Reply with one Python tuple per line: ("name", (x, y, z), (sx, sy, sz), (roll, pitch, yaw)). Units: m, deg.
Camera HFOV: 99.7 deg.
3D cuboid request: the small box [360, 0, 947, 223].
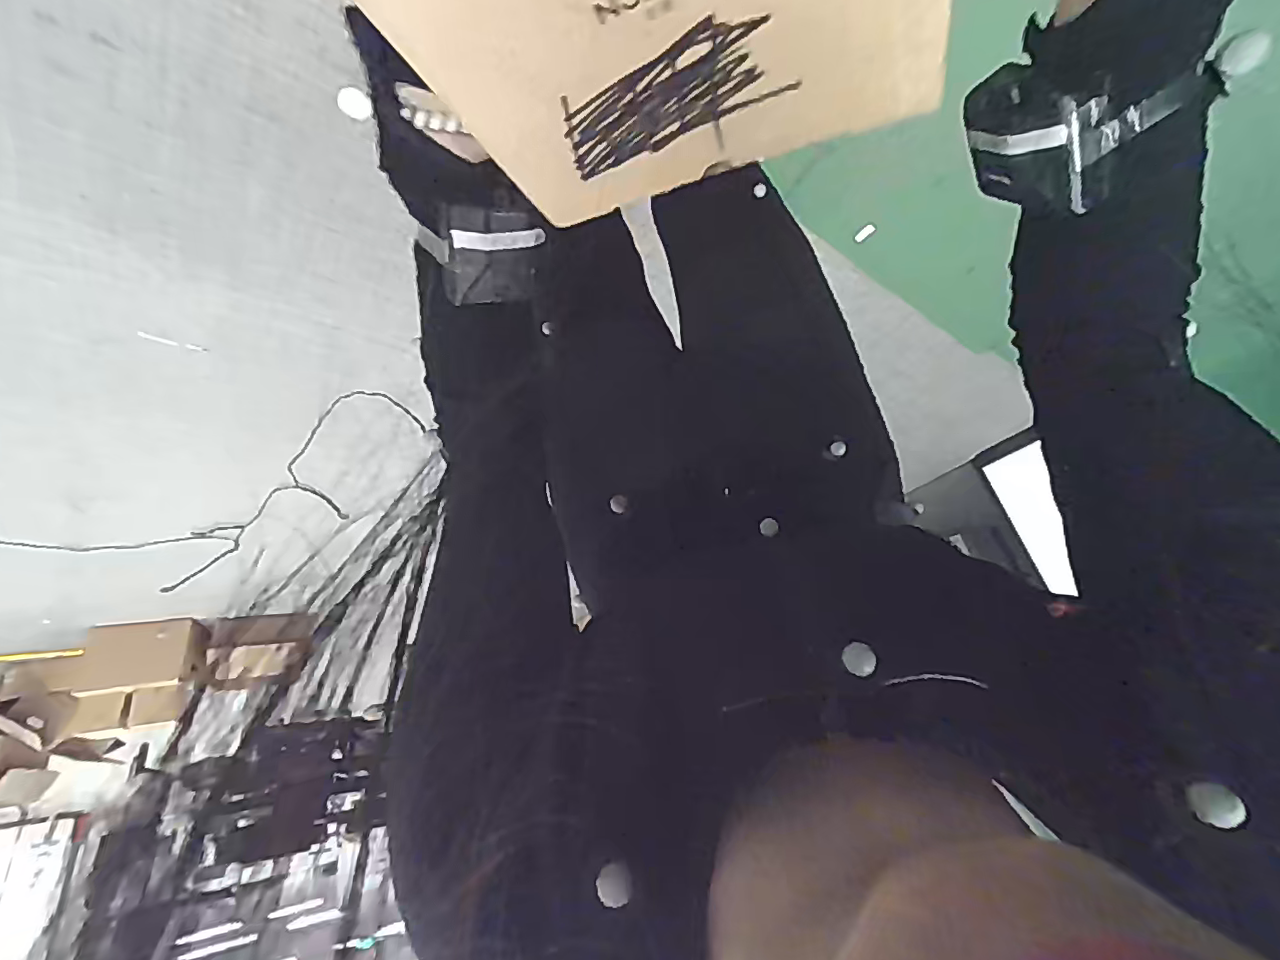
("small box", (-0.001, -0.228, 0.173), (0.168, 0.176, 0.179), (-9, 166, 23))
